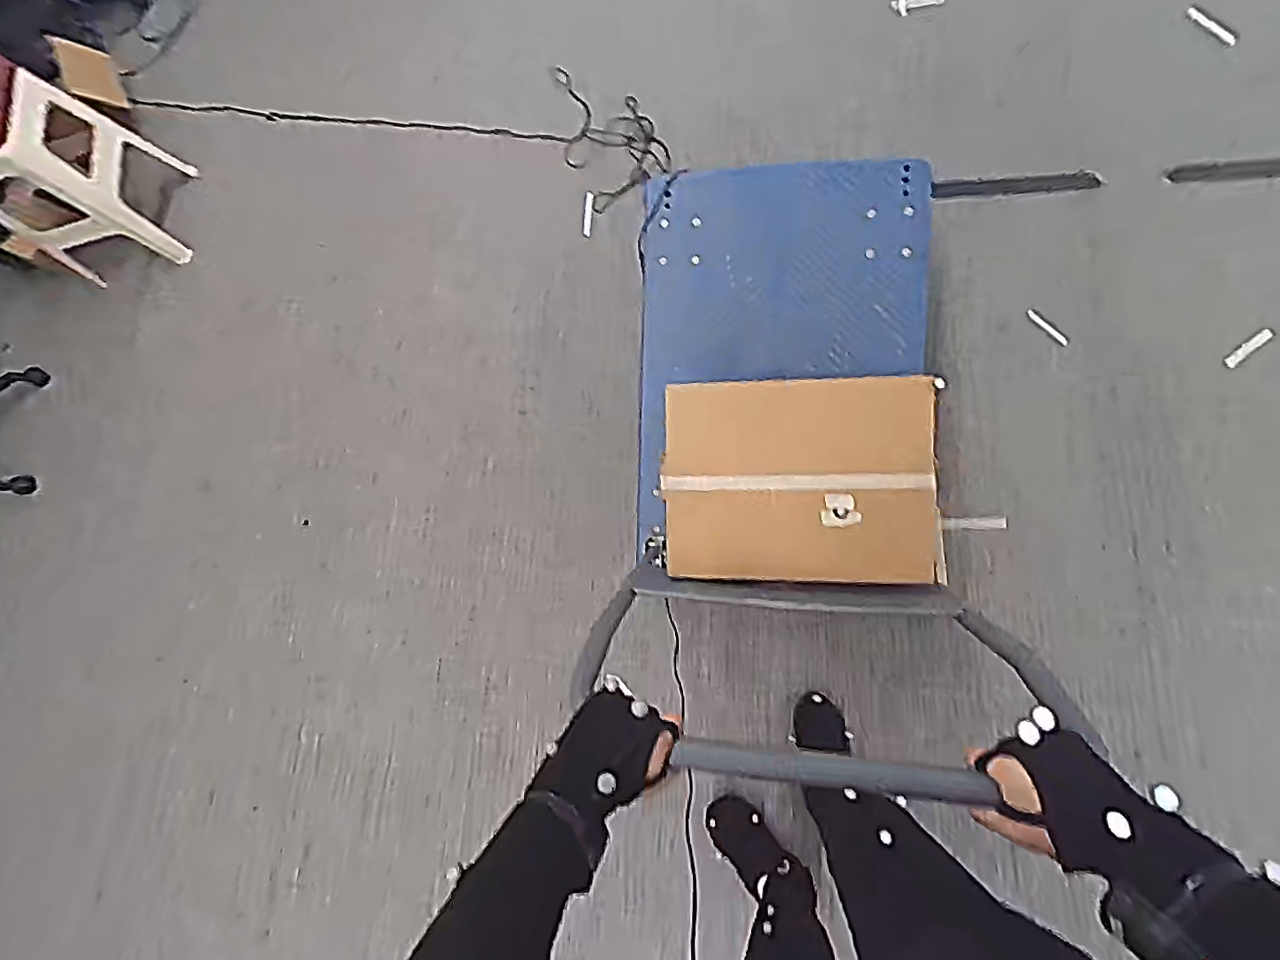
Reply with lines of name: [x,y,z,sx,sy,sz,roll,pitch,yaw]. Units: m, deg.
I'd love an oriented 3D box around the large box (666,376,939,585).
large box: [0.262,0.002,0.968,0.408,0.320,0.320,0,92,9]
